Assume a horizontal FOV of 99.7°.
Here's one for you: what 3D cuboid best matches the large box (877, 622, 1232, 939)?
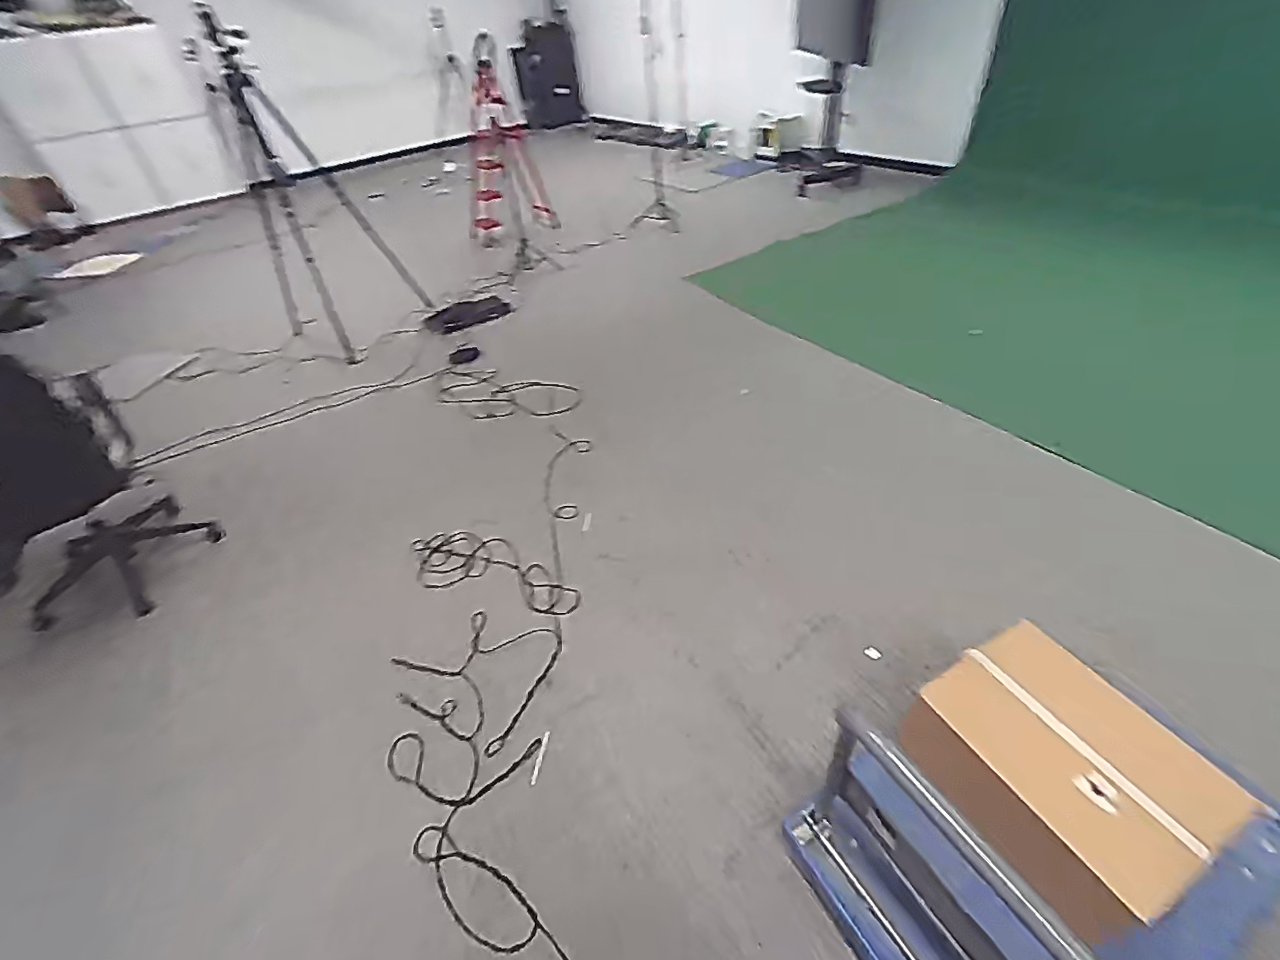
[{"bbox_3d":[0.761,0.575,1.074,0.320,0.320,0.408,-24,45,-17],"label":"large box"}]
